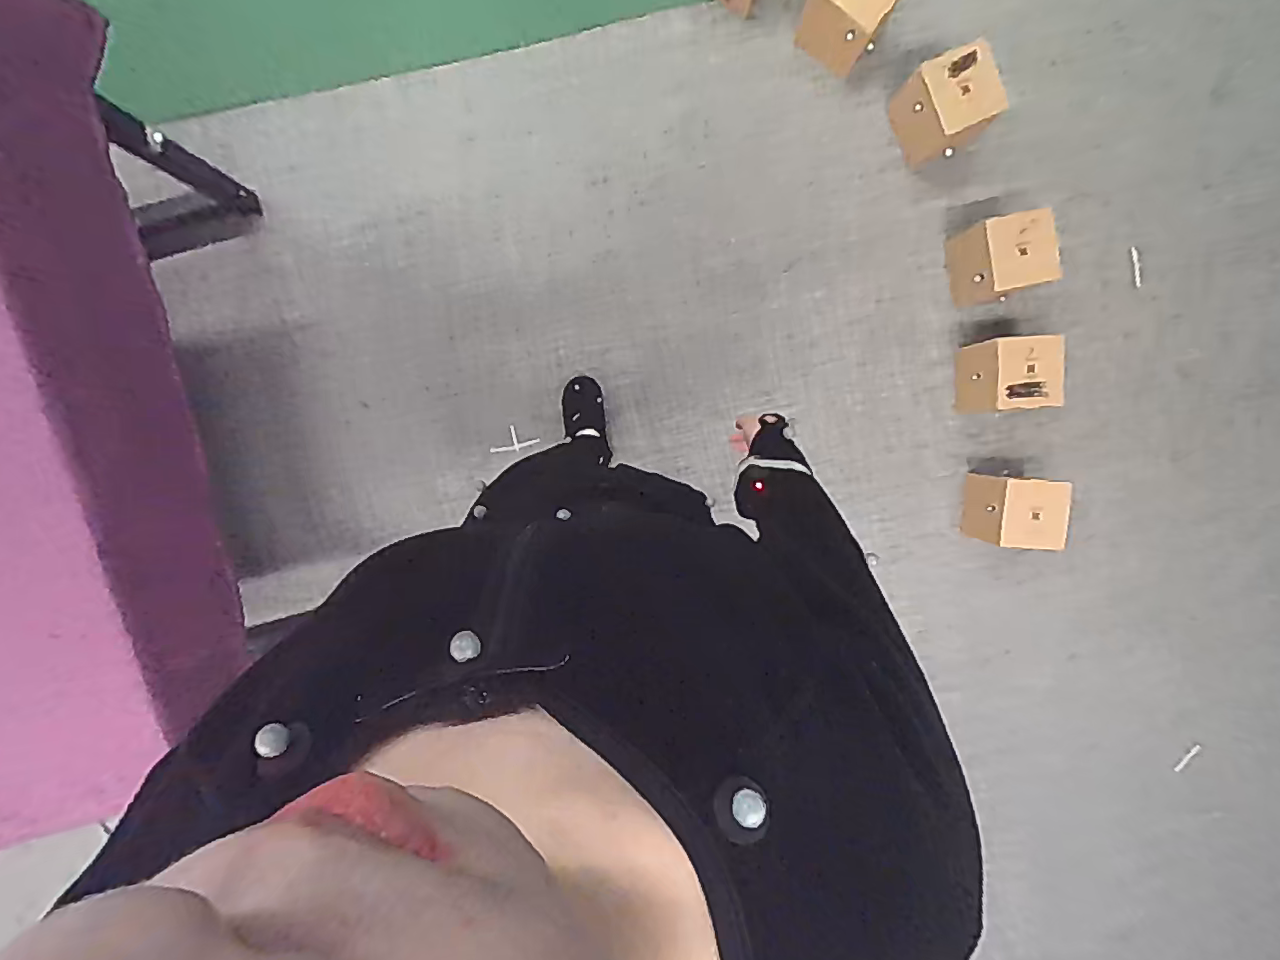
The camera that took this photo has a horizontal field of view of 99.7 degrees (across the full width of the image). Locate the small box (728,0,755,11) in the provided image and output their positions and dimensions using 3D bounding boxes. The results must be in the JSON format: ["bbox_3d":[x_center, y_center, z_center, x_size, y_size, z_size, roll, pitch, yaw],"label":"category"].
[{"bbox_3d":[0.250,-1.296,1.293,0.168,0.176,0.179,32,94,-4],"label":"small box"}]

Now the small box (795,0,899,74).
[{"bbox_3d":[0.508,-1.149,1.313,0.179,0.176,0.168,37,93,-4],"label":"small box"}]

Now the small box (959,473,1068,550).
[{"bbox_3d":[0.974,0.077,1.426,0.168,0.176,0.179,4,96,-1],"label":"small box"}]

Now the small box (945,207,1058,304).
[{"bbox_3d":[0.907,-0.557,1.367,0.168,0.176,0.179,-11,95,-1],"label":"small box"}]
